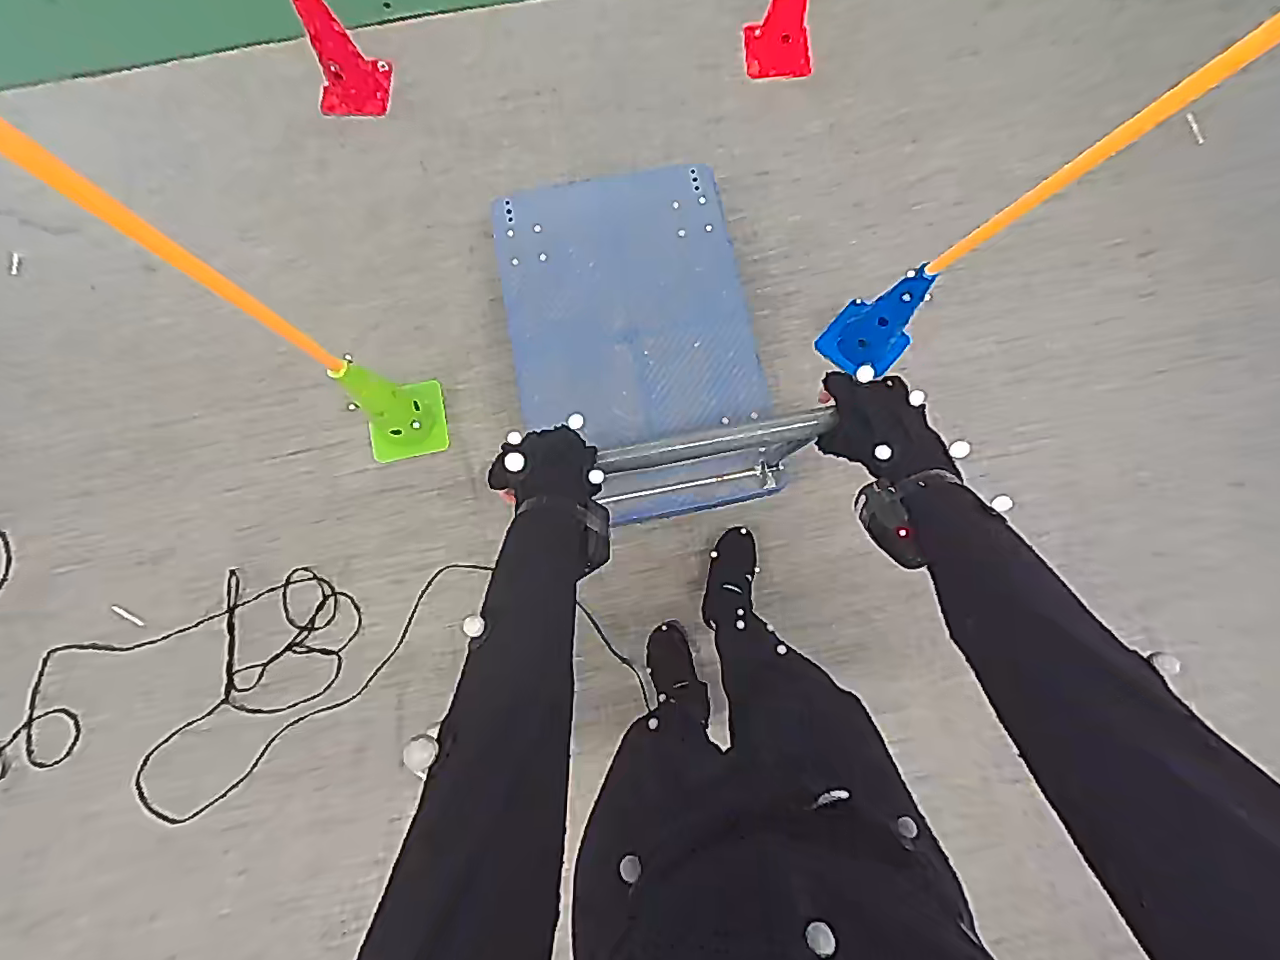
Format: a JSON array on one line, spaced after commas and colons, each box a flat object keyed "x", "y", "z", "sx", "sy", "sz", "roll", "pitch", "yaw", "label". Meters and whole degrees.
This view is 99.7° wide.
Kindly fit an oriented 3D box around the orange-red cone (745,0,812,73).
[{"x": 0.418, "y": -1.358, "z": 1.482, "sx": 0.198, "sy": 0.360, "sz": 0.199, "roll": -1, "pitch": 80, "yaw": 1, "label": "orange-red cone"}]
